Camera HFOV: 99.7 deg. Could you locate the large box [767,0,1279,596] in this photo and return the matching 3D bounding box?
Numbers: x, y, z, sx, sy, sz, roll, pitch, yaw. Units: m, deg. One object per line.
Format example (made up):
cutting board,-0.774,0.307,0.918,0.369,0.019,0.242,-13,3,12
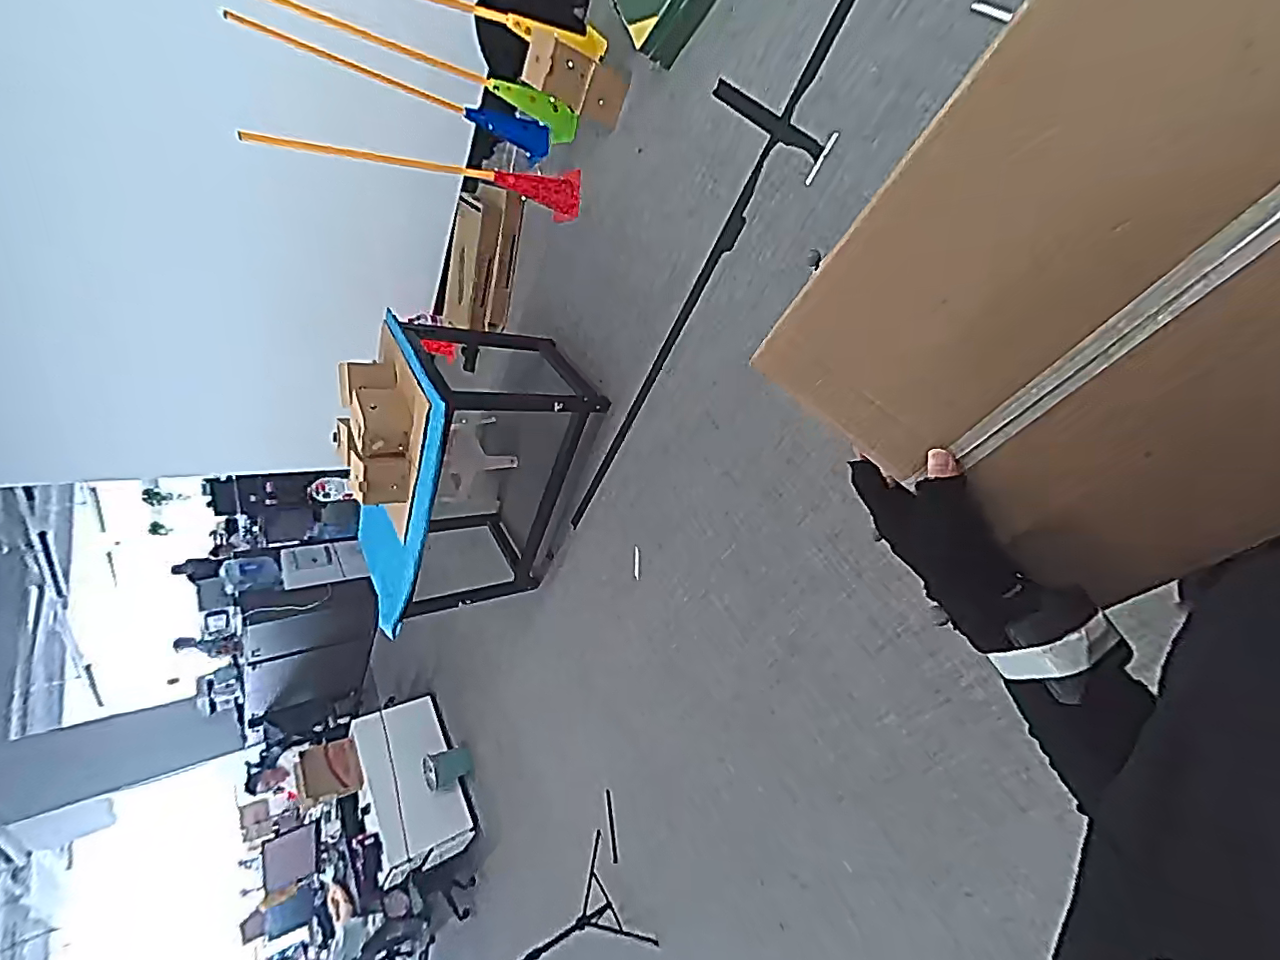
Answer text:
large box,0.366,-0.195,0.400,0.320,0.320,0.408,38,133,2
